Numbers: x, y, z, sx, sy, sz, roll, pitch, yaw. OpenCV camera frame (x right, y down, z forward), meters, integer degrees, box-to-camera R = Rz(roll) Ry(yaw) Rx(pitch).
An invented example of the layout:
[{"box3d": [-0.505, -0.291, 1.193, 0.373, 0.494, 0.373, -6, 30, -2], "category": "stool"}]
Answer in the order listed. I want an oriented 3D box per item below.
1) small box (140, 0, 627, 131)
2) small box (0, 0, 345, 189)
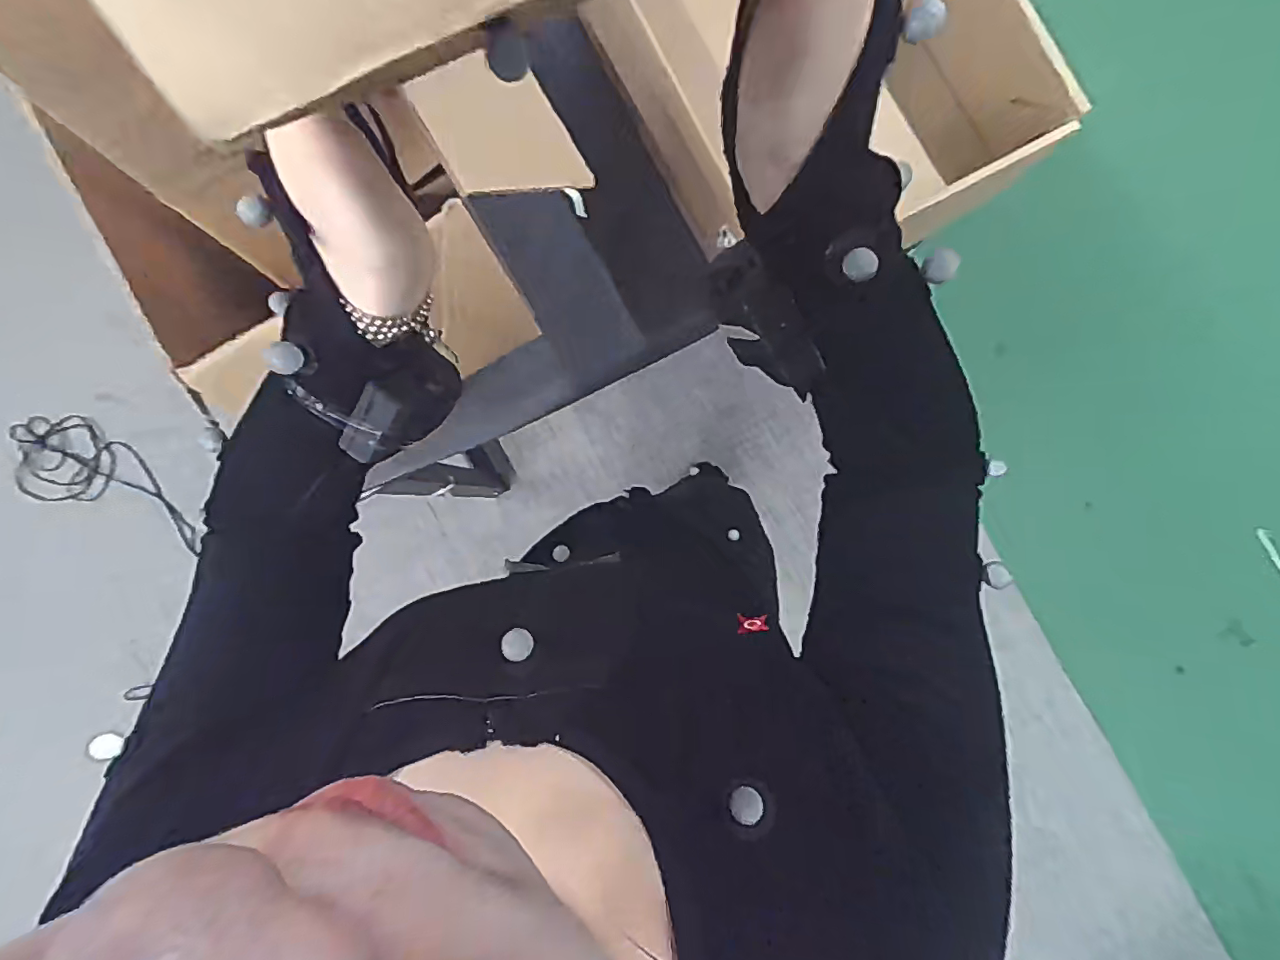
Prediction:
[{"box3d": [-0.050, -0.219, 0.137, 0.179, 0.176, 0.168, -17, 130, 9], "category": "small box"}, {"box3d": [-0.349, -0.351, 0.374, 0.168, 0.176, 0.179, -29, 87, -5], "category": "small box"}]
